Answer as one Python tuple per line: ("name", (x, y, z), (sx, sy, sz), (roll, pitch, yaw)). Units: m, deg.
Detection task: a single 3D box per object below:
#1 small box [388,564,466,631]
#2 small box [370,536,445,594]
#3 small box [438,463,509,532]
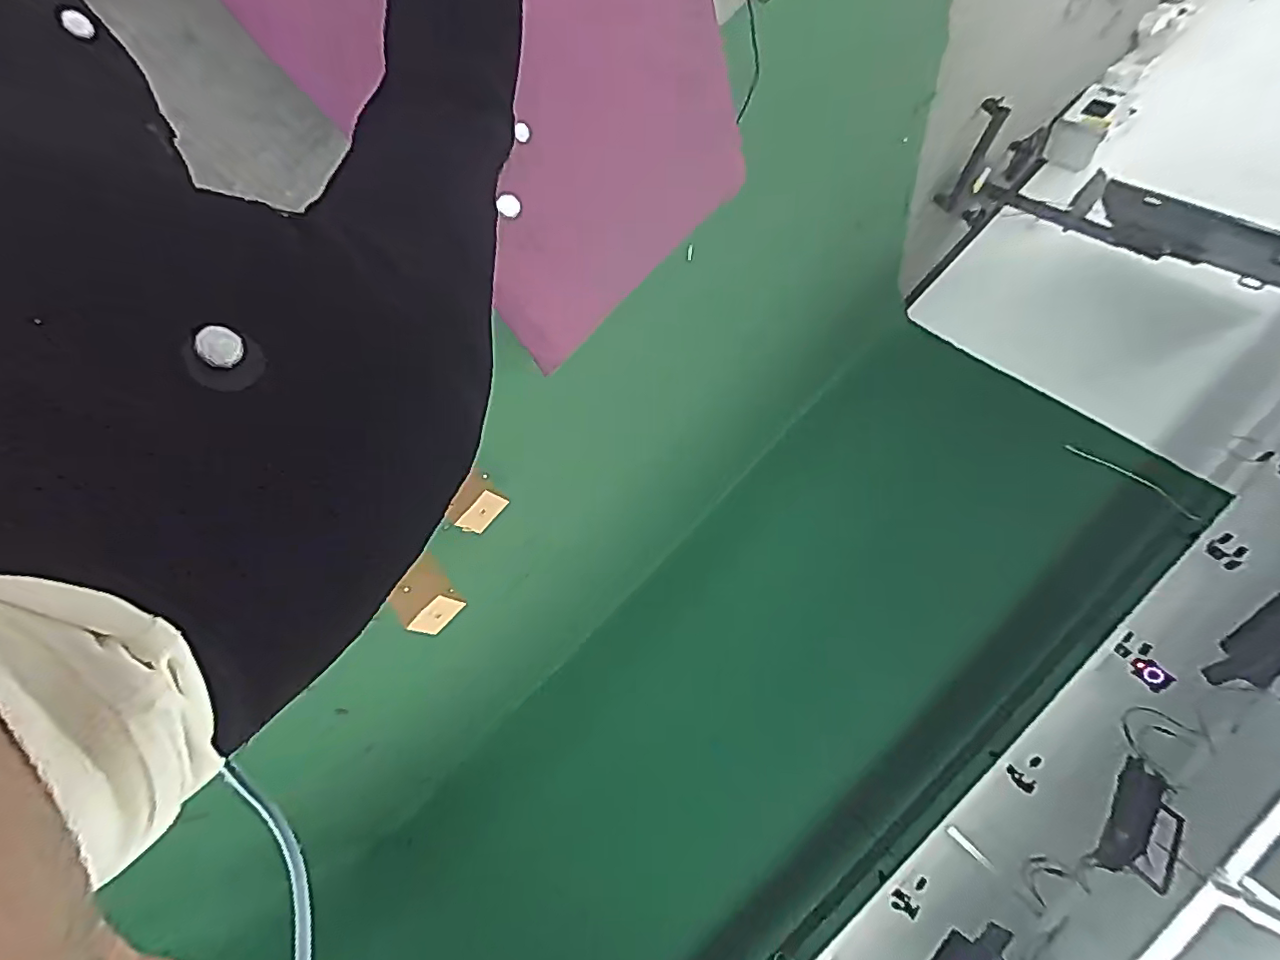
("small box", (-0.793, 0.438, 2.016), (0.168, 0.176, 0.179), (-45, 152, -4))
("small box", (-0.903, 0.340, 2.090), (0.168, 0.176, 0.179), (-45, 151, -2))
("small box", (-0.653, 0.068, 2.094), (0.179, 0.176, 0.168), (-48, 154, -1))
